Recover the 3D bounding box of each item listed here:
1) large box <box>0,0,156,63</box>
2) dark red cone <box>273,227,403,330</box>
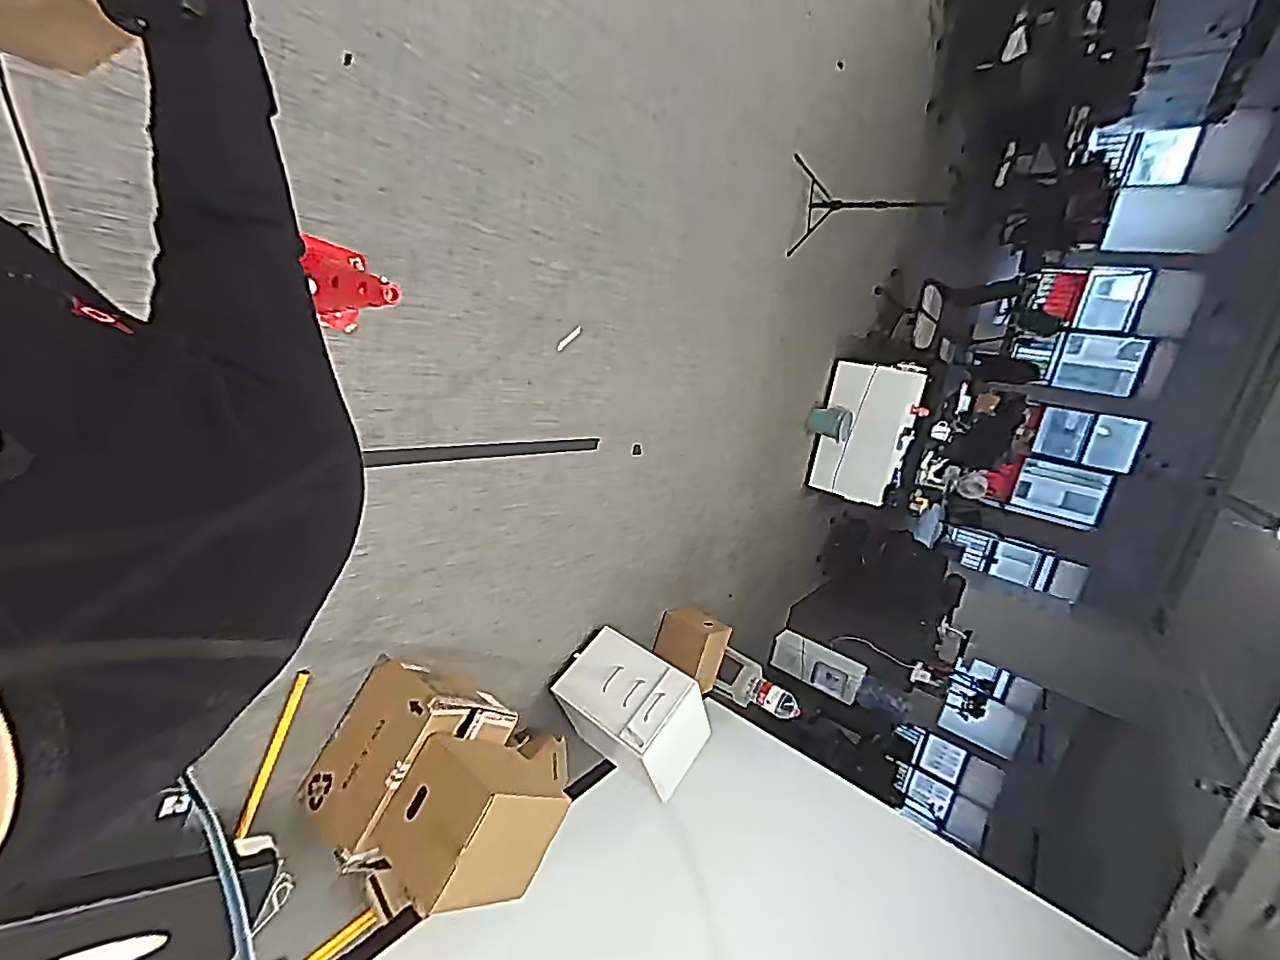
[{"bbox_3d":[-0.552,-0.483,0.262,0.408,0.320,0.320,-12,119,-51],"label":"large box"},{"bbox_3d":[-0.638,-0.428,1.202,0.201,0.394,0.202,1,105,-52],"label":"dark red cone"}]
